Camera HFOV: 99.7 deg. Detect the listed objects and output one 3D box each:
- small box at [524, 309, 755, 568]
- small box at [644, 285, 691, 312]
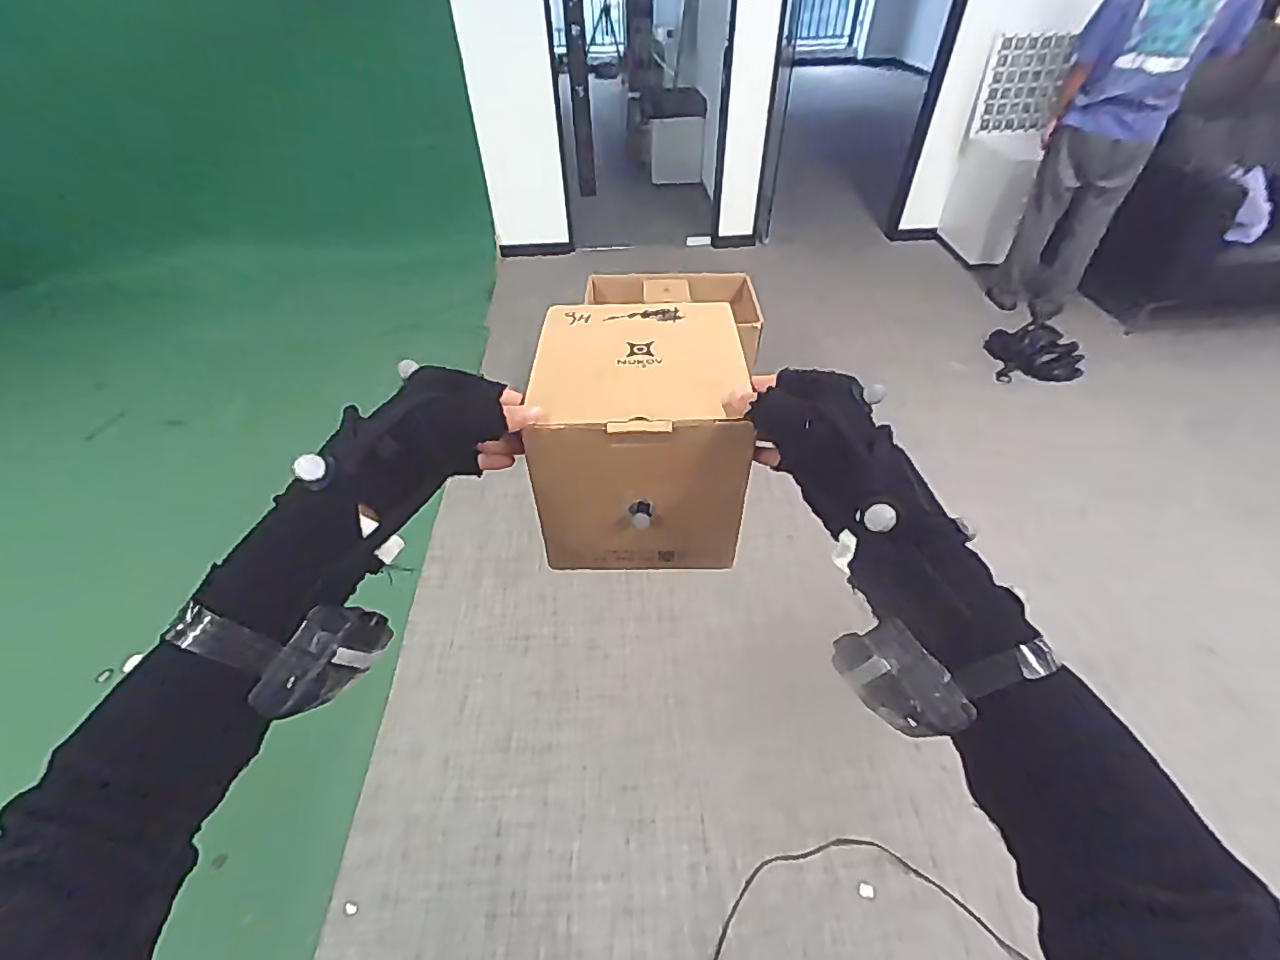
[{"bbox_3d":[0.003,-0.034,0.488,0.168,0.176,0.179,-1,45,1],"label":"small box"},{"bbox_3d":[0.099,-0.604,1.996,0.168,0.176,0.179,0,42,-1],"label":"small box"}]
